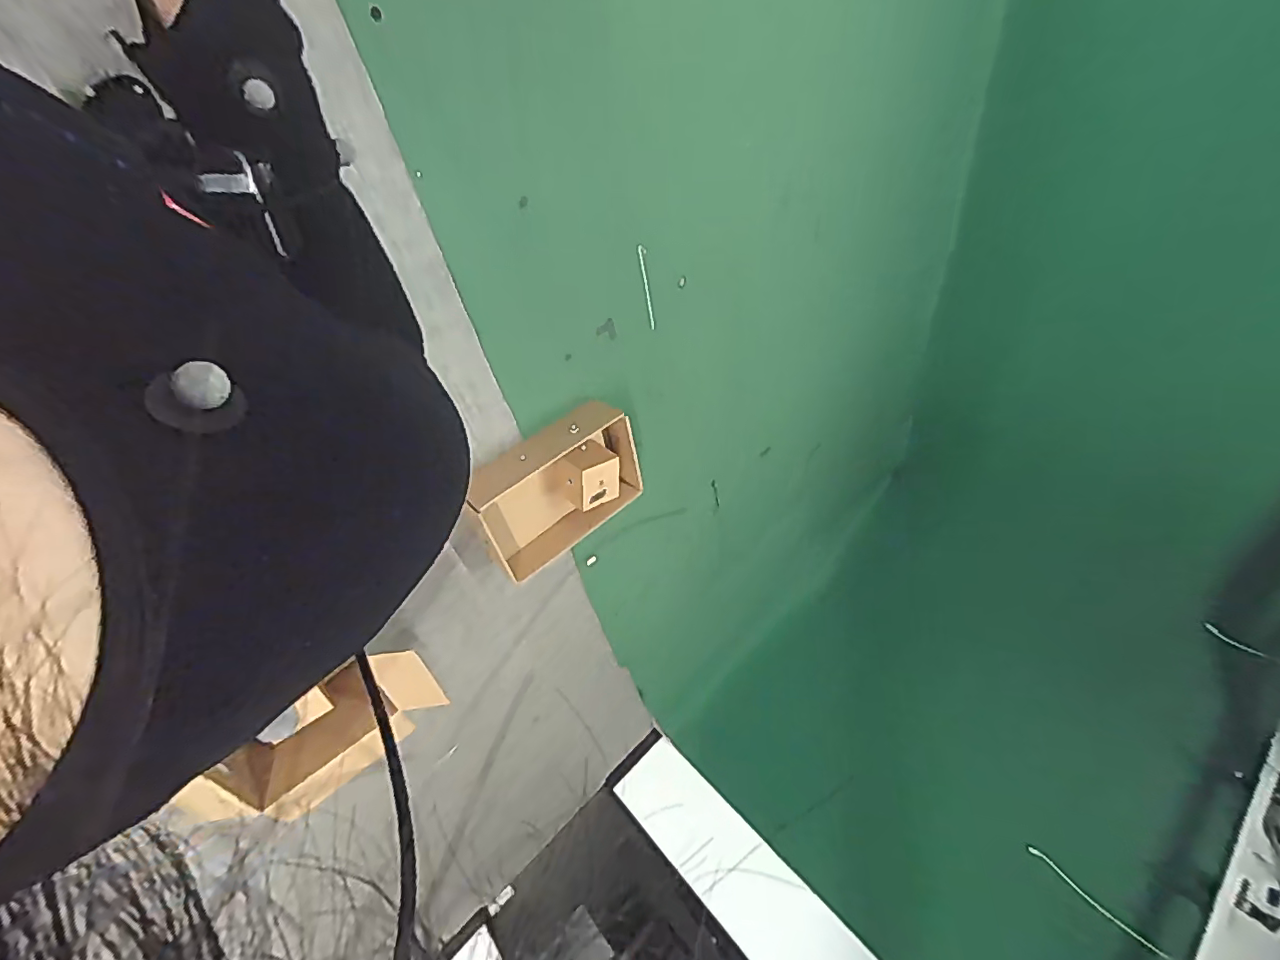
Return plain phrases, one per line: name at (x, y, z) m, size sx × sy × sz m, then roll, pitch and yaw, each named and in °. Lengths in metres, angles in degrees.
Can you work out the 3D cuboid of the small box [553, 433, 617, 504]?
small box at (-0.202, -0.047, 1.971) m, size 0.168 × 0.176 × 0.179 m, roll -24°, pitch 132°, yaw -34°
